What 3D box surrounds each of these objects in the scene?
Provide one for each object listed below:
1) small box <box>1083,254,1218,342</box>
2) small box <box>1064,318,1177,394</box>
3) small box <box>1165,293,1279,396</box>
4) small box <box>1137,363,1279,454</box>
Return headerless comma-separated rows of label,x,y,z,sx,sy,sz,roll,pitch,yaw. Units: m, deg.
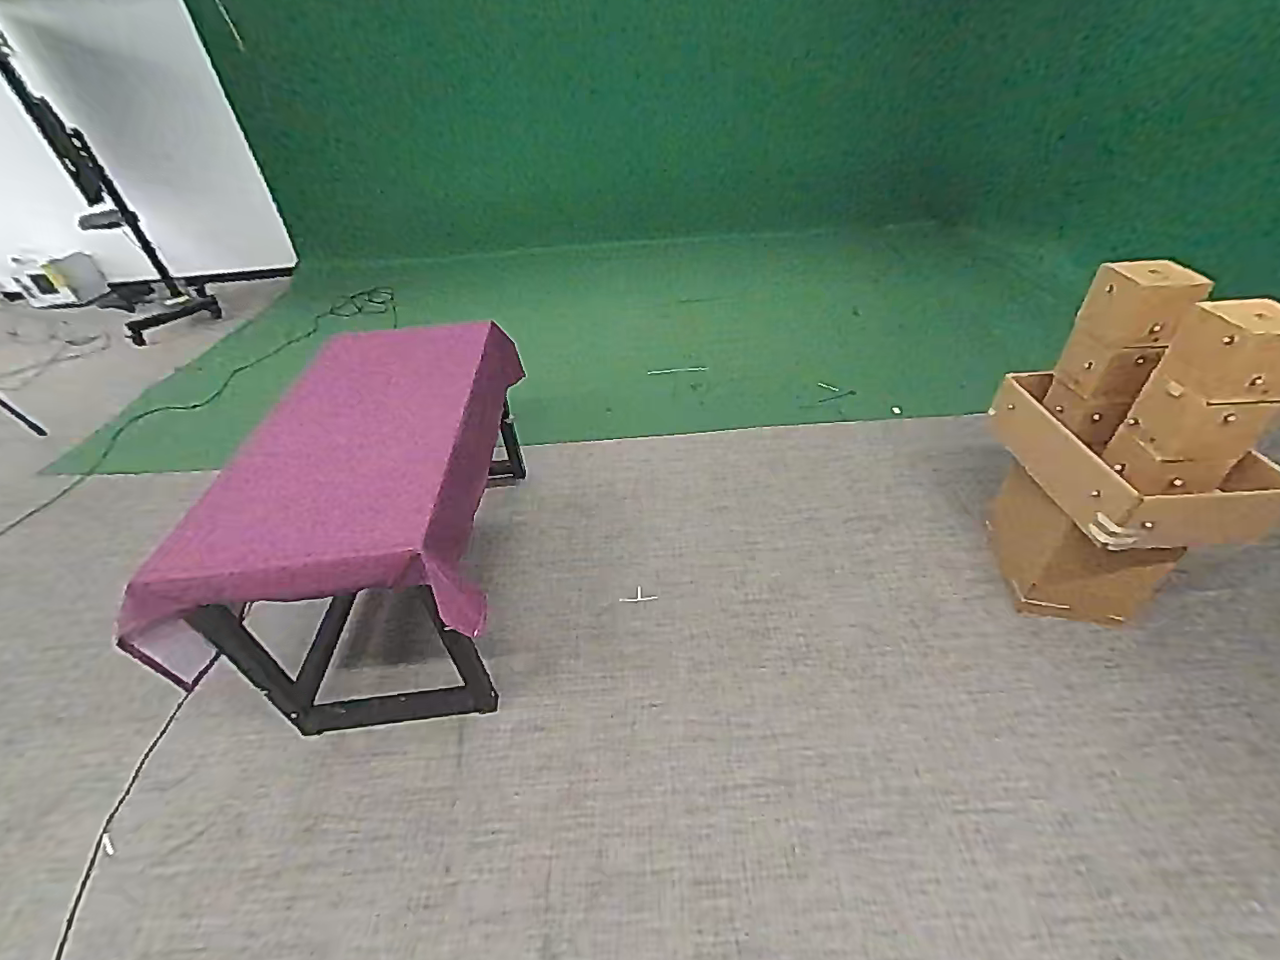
small box,1.332,-0.481,1.431,0.168,0.176,0.179,-2,40,6
small box,1.353,-0.354,1.534,0.179,0.176,0.168,-3,40,3
small box,1.355,-0.304,1.212,0.168,0.176,0.179,-3,40,4
small box,1.367,-0.175,1.310,0.179,0.176,0.168,-2,39,5
